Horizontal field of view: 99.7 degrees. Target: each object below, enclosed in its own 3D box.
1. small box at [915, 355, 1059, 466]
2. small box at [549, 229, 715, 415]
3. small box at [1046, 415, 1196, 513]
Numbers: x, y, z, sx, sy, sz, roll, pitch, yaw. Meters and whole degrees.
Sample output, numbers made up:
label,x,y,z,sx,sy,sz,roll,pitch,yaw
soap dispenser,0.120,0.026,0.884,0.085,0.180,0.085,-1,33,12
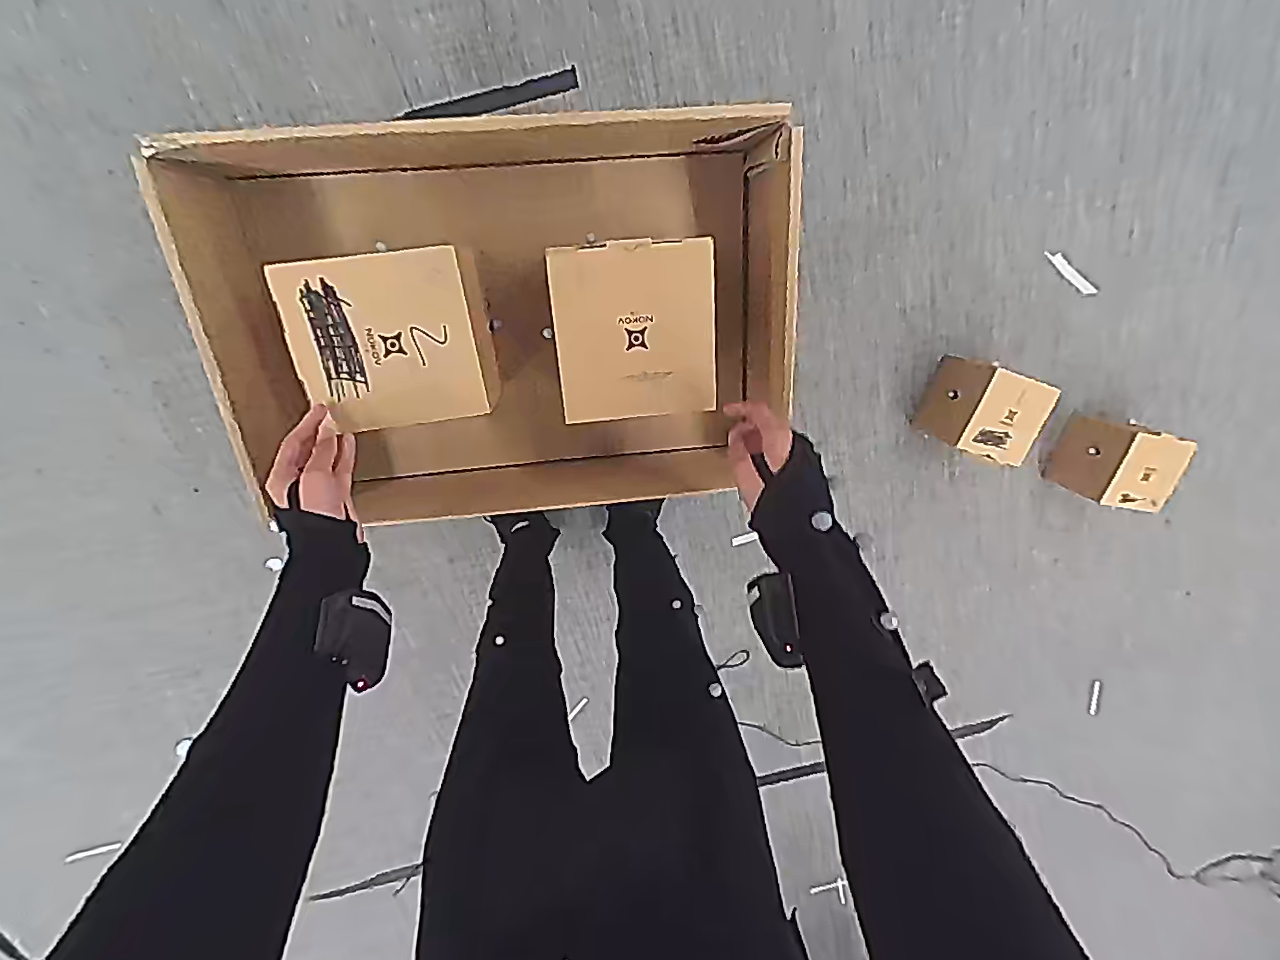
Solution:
label,x,y,z,sx,sy,sz,roll,pitch,yaw
small box,0.739,-0.156,1.178,0.168,0.176,0.179,15,109,-12
small box,-0.011,-0.183,0.627,0.168,0.176,0.179,-5,110,-3
small box,1.109,-0.044,1.265,0.168,0.176,0.179,9,109,-10
